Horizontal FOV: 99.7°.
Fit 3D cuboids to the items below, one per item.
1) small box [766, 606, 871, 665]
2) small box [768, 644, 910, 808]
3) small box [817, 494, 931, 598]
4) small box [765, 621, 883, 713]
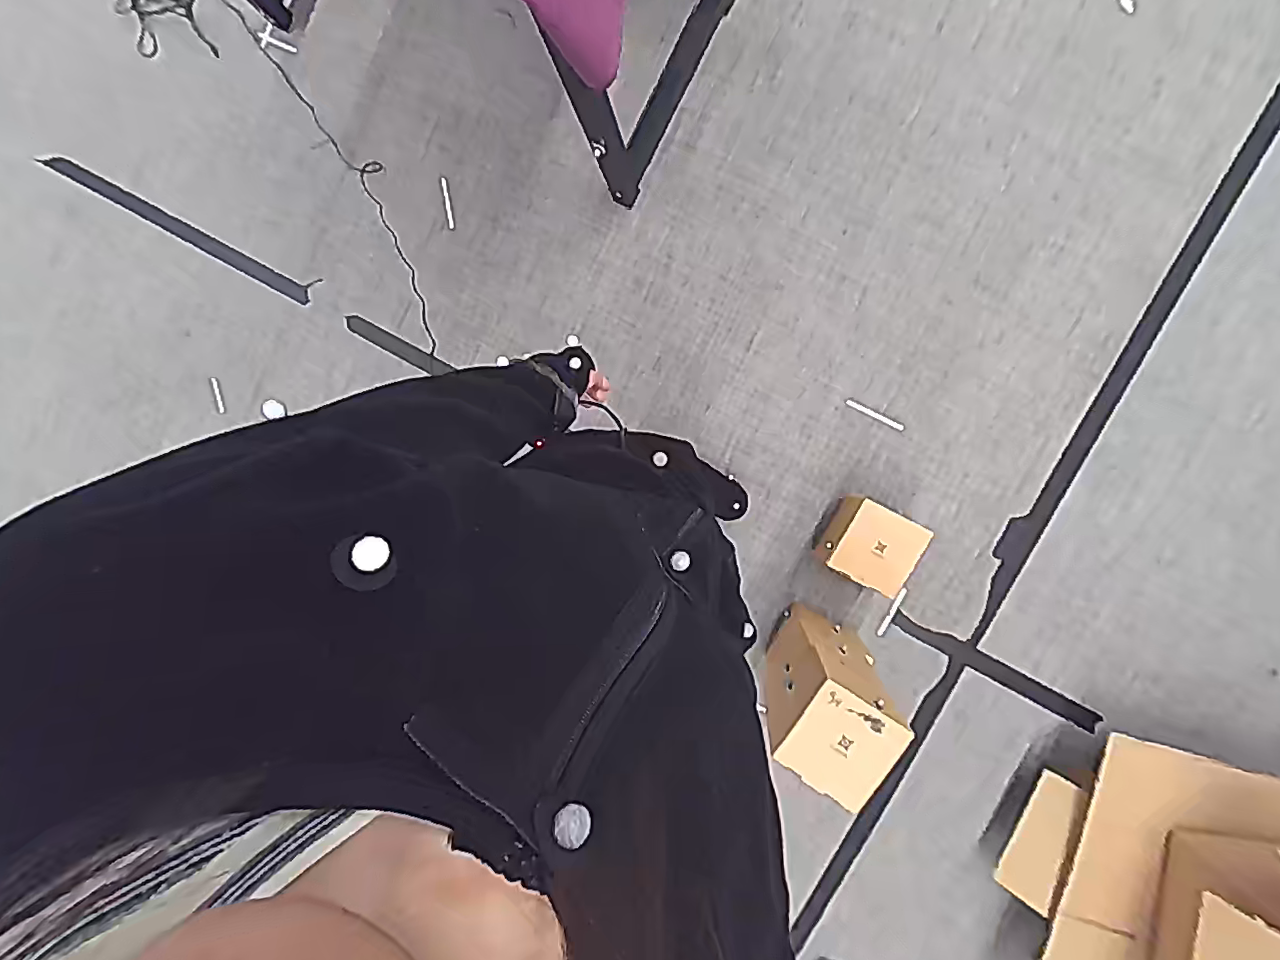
[{"bbox_3d":[0.421,0.424,1.310,0.179,0.176,0.168,27,97,6],"label":"small box"},{"bbox_3d":[0.349,0.437,0.989,0.168,0.176,0.179,33,99,6],"label":"small box"},{"bbox_3d":[0.539,0.146,1.277,0.168,0.176,0.179,28,97,6],"label":"small box"},{"bbox_3d":[0.378,0.430,1.150,0.168,0.176,0.179,30,98,7],"label":"small box"}]
